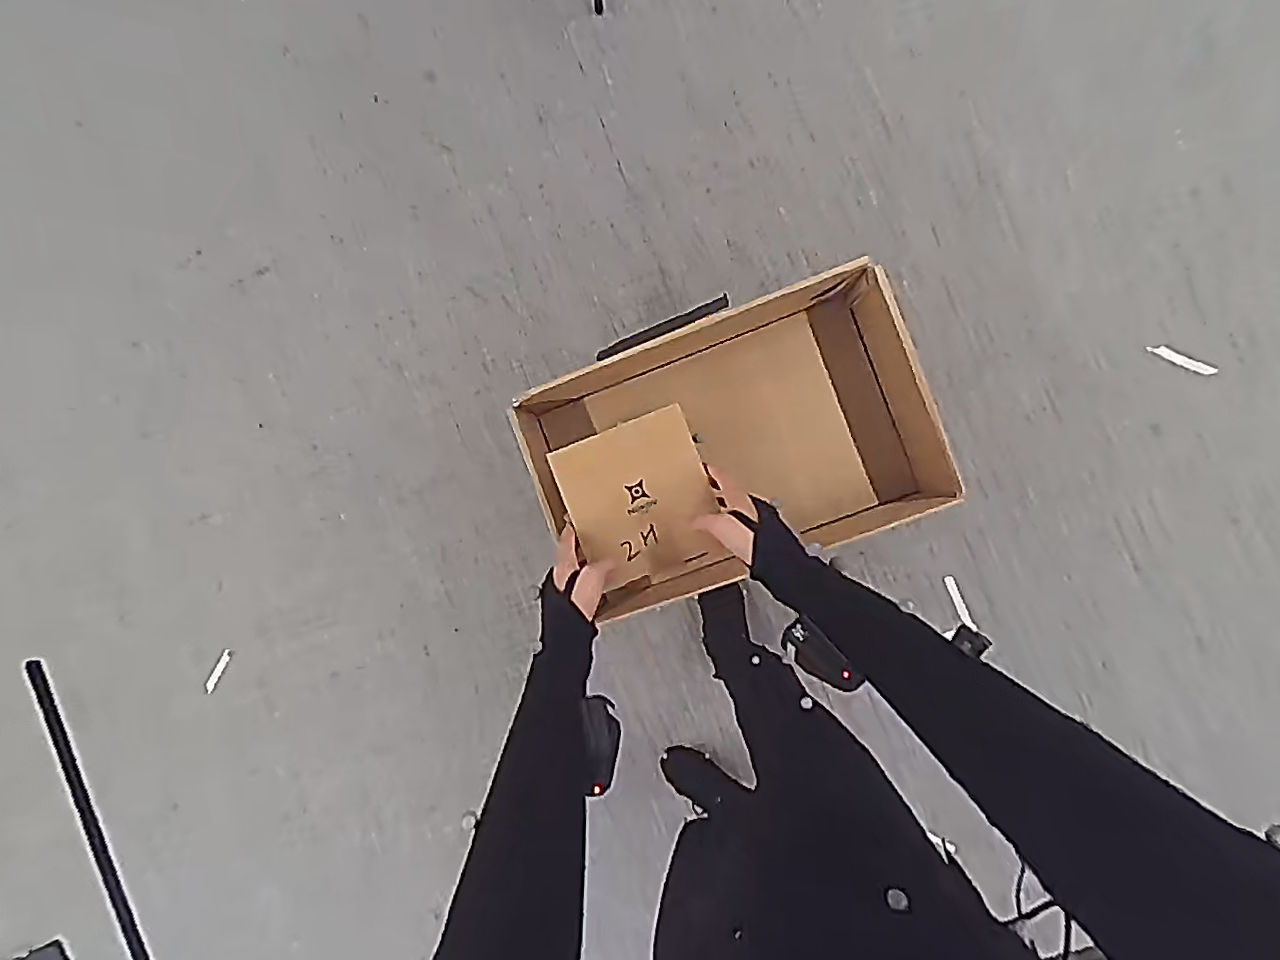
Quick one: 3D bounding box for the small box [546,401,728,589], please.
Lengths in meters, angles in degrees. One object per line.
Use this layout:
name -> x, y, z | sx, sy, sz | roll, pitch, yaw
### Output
small box -> 0.000, 0.017, 0.695 | 0.168, 0.176, 0.179 | -21, 90, 5
